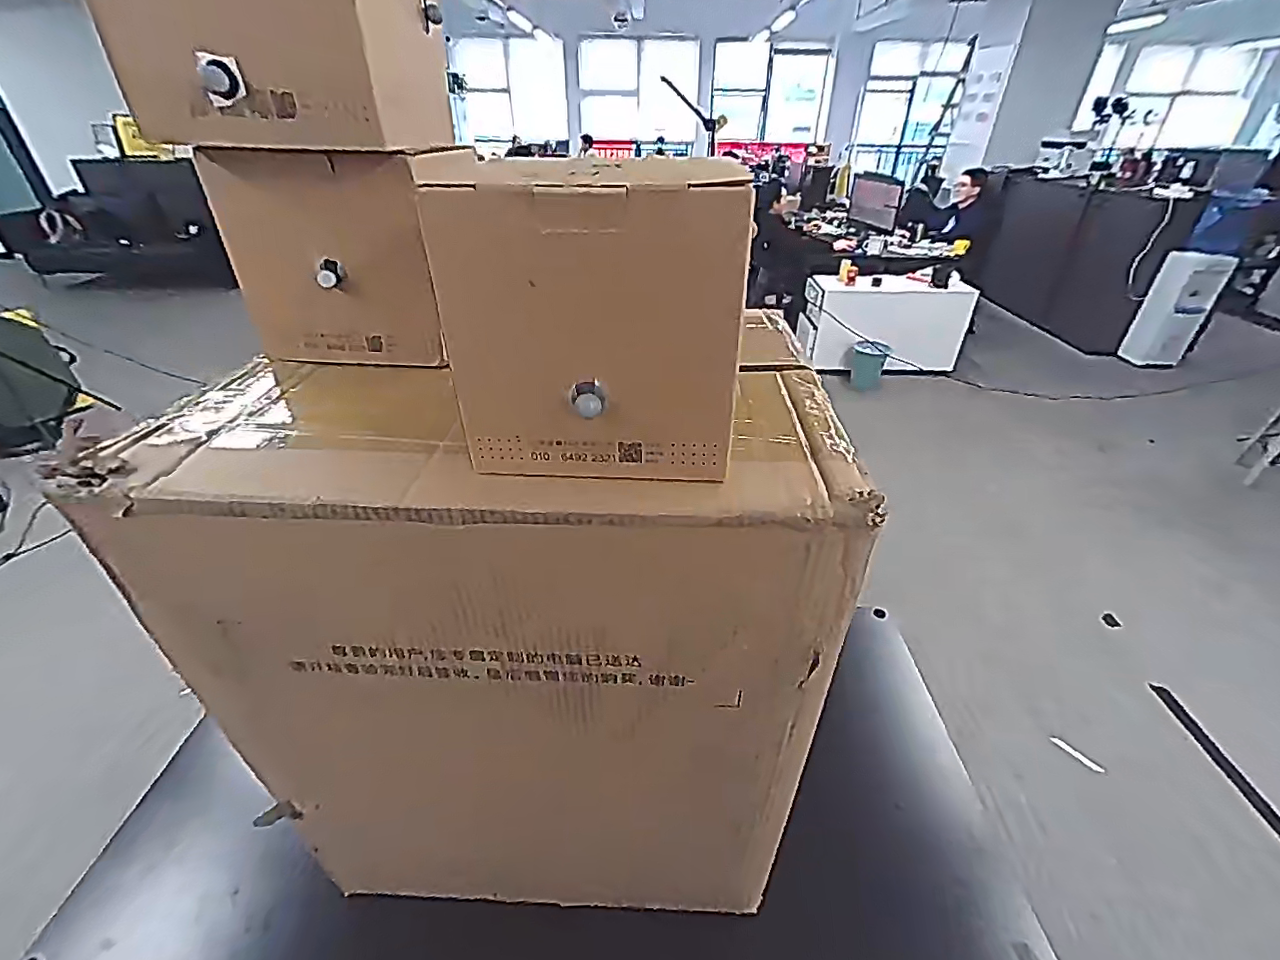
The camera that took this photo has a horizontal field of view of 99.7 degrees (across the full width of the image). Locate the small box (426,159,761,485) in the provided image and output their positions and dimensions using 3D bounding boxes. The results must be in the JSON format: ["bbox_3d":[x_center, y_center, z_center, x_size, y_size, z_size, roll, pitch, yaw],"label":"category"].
[{"bbox_3d":[-0.017,-0.115,0.368,0.168,0.176,0.179,2,35,4],"label":"small box"}]

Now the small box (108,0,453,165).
[{"bbox_3d":[-0.246,-0.333,0.391,0.168,0.176,0.179,-1,34,-1],"label":"small box"}]

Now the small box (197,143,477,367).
[{"bbox_3d":[-0.245,-0.215,0.509,0.168,0.176,0.179,2,34,0],"label":"small box"}]
